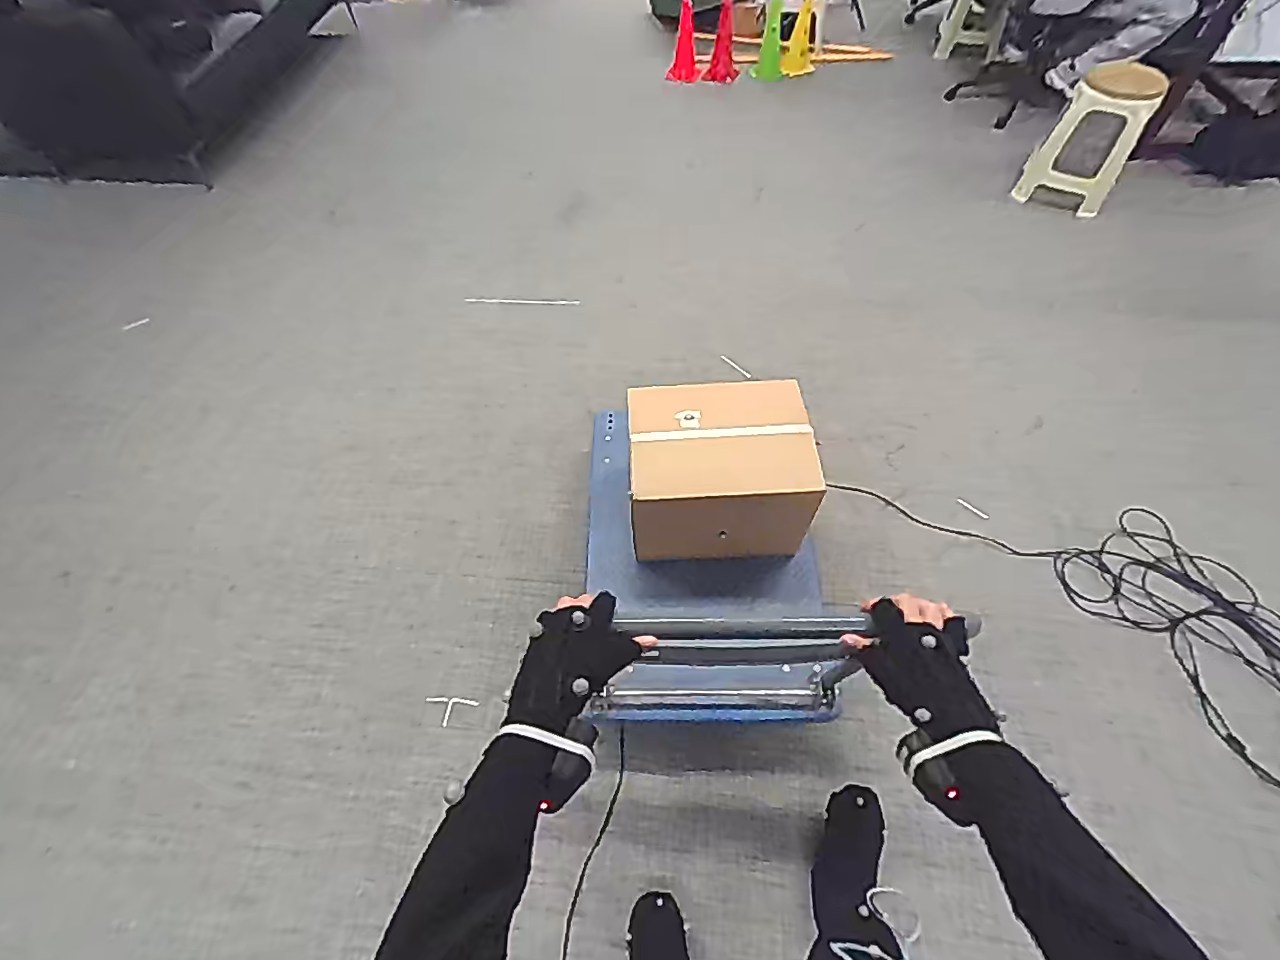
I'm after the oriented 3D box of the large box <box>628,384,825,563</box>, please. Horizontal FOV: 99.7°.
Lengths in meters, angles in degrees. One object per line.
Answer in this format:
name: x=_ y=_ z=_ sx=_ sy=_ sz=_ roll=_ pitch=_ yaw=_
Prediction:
large box: x=0.187 y=-0.006 z=1.328 sx=0.408 sy=0.320 sz=0.320 roll=-4 pitch=56 yaw=0
